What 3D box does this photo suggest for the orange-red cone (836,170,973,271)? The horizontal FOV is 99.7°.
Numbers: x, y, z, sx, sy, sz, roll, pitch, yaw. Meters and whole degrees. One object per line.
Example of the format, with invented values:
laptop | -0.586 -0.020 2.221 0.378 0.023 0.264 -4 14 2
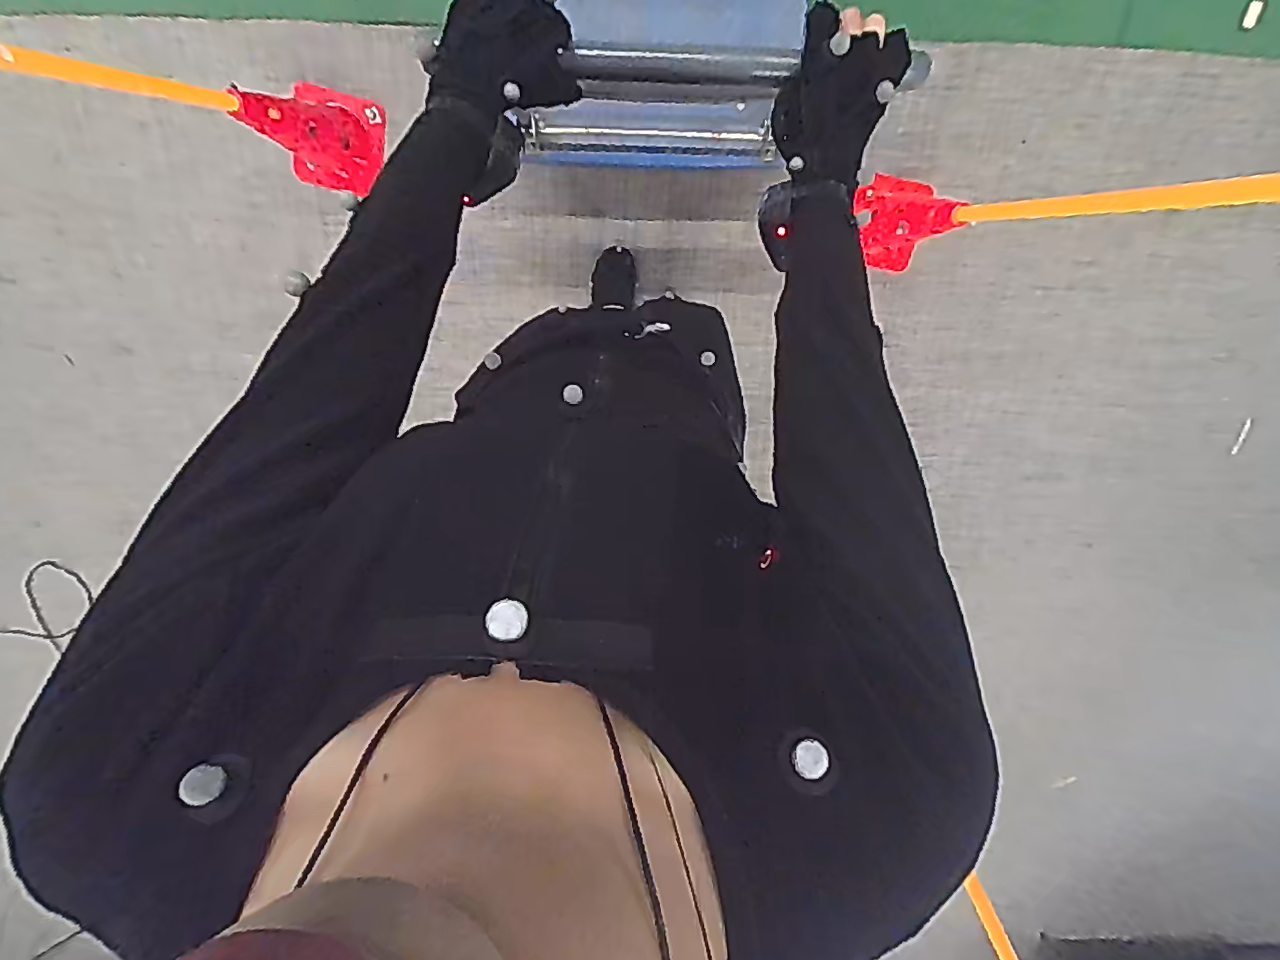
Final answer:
orange-red cone | 0.592 -0.557 1.150 0.198 0.360 0.199 11 113 -5
